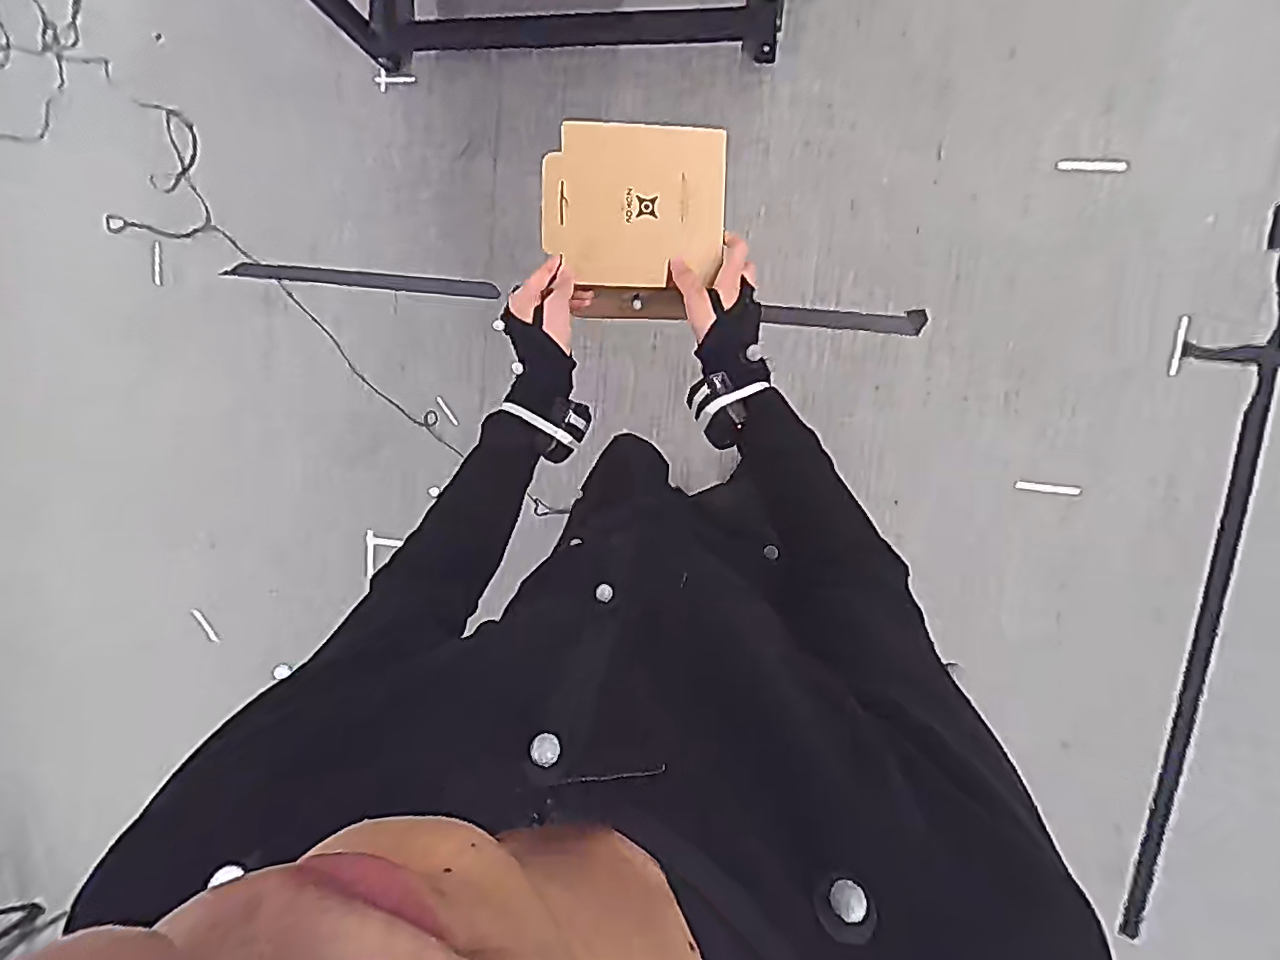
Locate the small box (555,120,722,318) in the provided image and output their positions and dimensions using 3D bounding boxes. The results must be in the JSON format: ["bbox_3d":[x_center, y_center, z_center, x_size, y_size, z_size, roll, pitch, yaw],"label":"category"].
[{"bbox_3d":[-0.005,-0.295,0.646,0.179,0.176,0.168,0,94,-3],"label":"small box"}]
